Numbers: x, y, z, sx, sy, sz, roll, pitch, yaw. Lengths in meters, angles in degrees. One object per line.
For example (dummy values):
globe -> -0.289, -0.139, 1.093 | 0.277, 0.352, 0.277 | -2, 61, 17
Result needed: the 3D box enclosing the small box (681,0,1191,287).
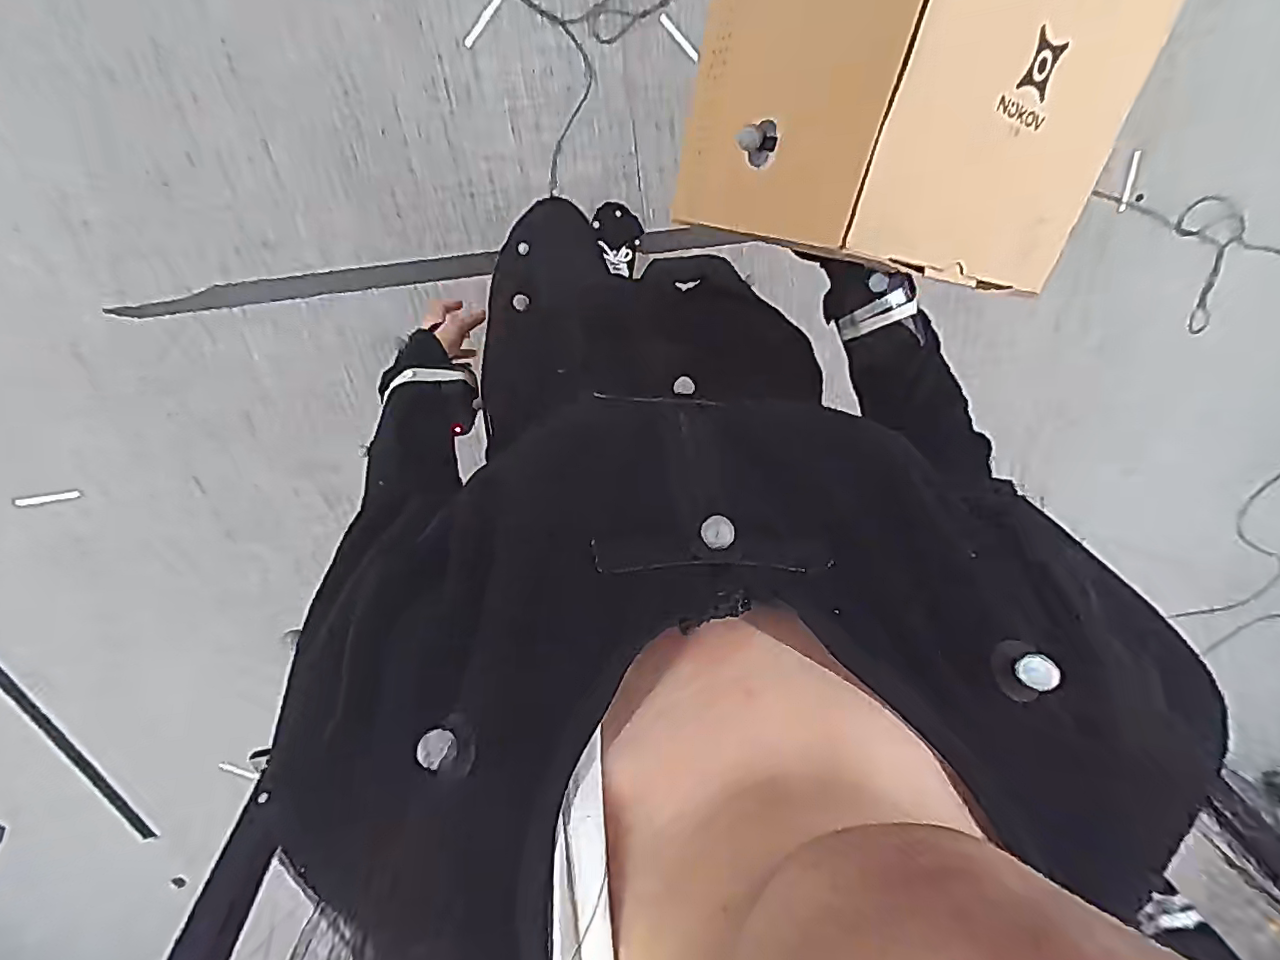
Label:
small box -> 0.141, -0.221, 0.297 | 0.168, 0.176, 0.179 | -3, 118, -29
